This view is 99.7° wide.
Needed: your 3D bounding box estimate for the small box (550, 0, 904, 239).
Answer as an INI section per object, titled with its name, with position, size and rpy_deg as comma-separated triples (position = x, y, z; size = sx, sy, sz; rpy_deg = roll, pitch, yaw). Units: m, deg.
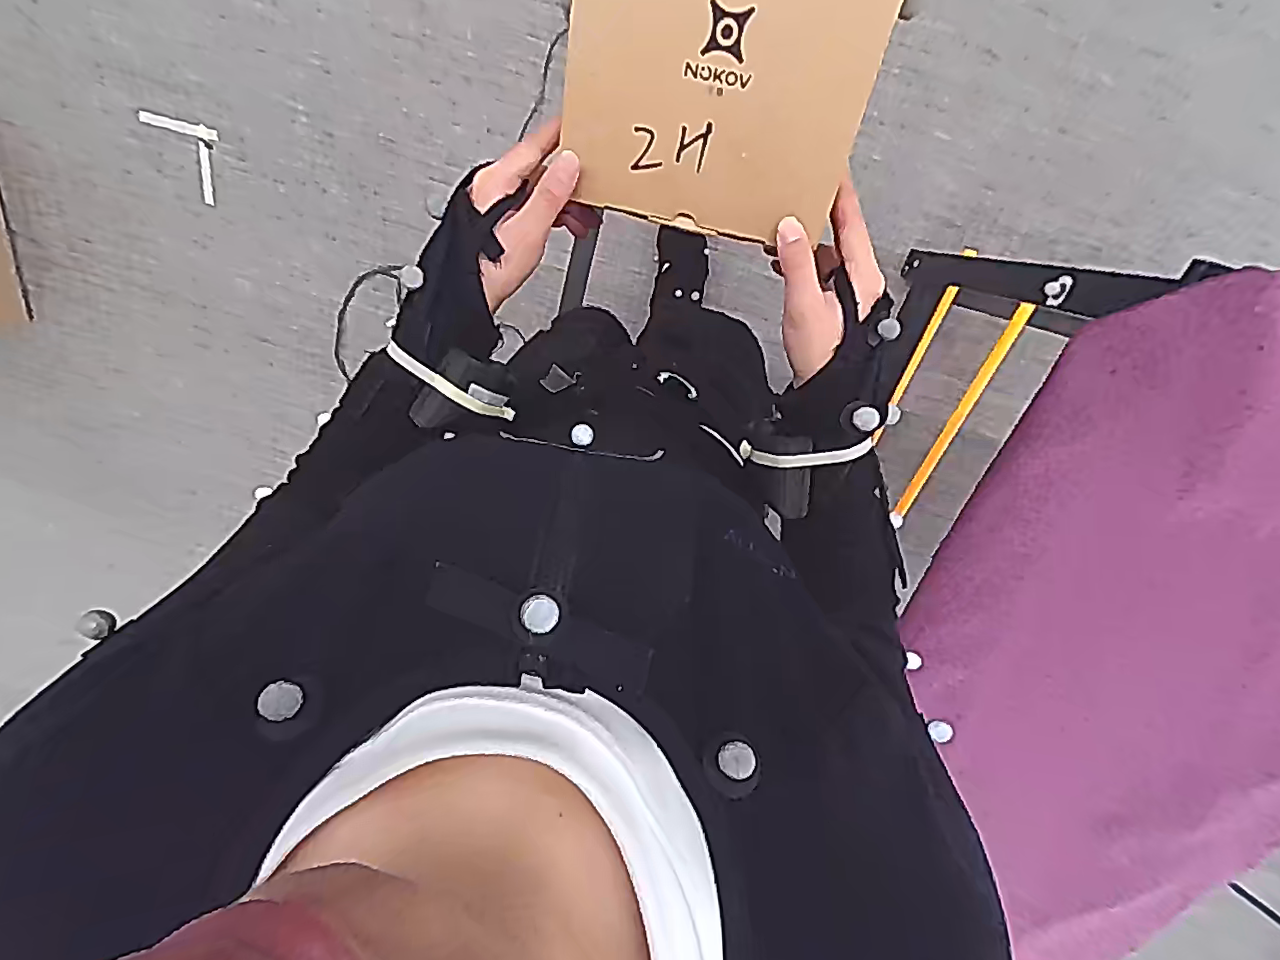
[small box]
position = 0.054, -0.272, 0.337
size = 0.168, 0.176, 0.179
rpy_deg = 14, 123, 2
